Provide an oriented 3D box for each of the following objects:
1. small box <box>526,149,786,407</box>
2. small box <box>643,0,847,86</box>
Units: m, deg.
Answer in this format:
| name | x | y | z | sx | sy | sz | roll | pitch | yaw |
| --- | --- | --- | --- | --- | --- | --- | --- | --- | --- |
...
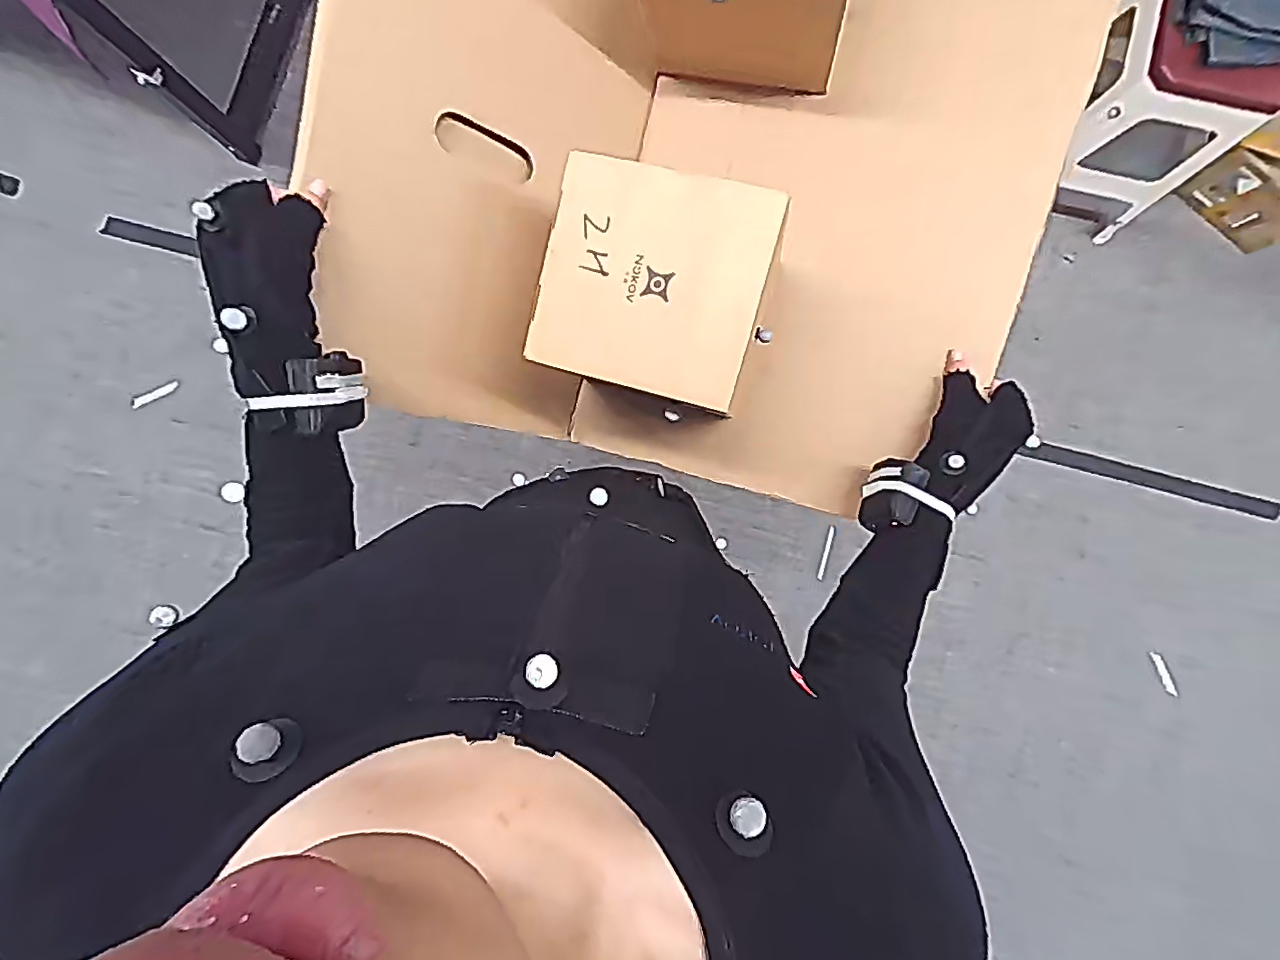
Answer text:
| name | x | y | z | sx | sy | sz | roll | pitch | yaw |
| --- | --- | --- | --- | --- | --- | --- | --- | --- | --- |
| small box | 0.023 | -0.169 | 0.504 | 0.179 | 0.176 | 0.168 | 17 | 98 | 10 |
| small box | 0.099 | -0.476 | 0.459 | 0.179 | 0.176 | 0.168 | 15 | 98 | 10 |
